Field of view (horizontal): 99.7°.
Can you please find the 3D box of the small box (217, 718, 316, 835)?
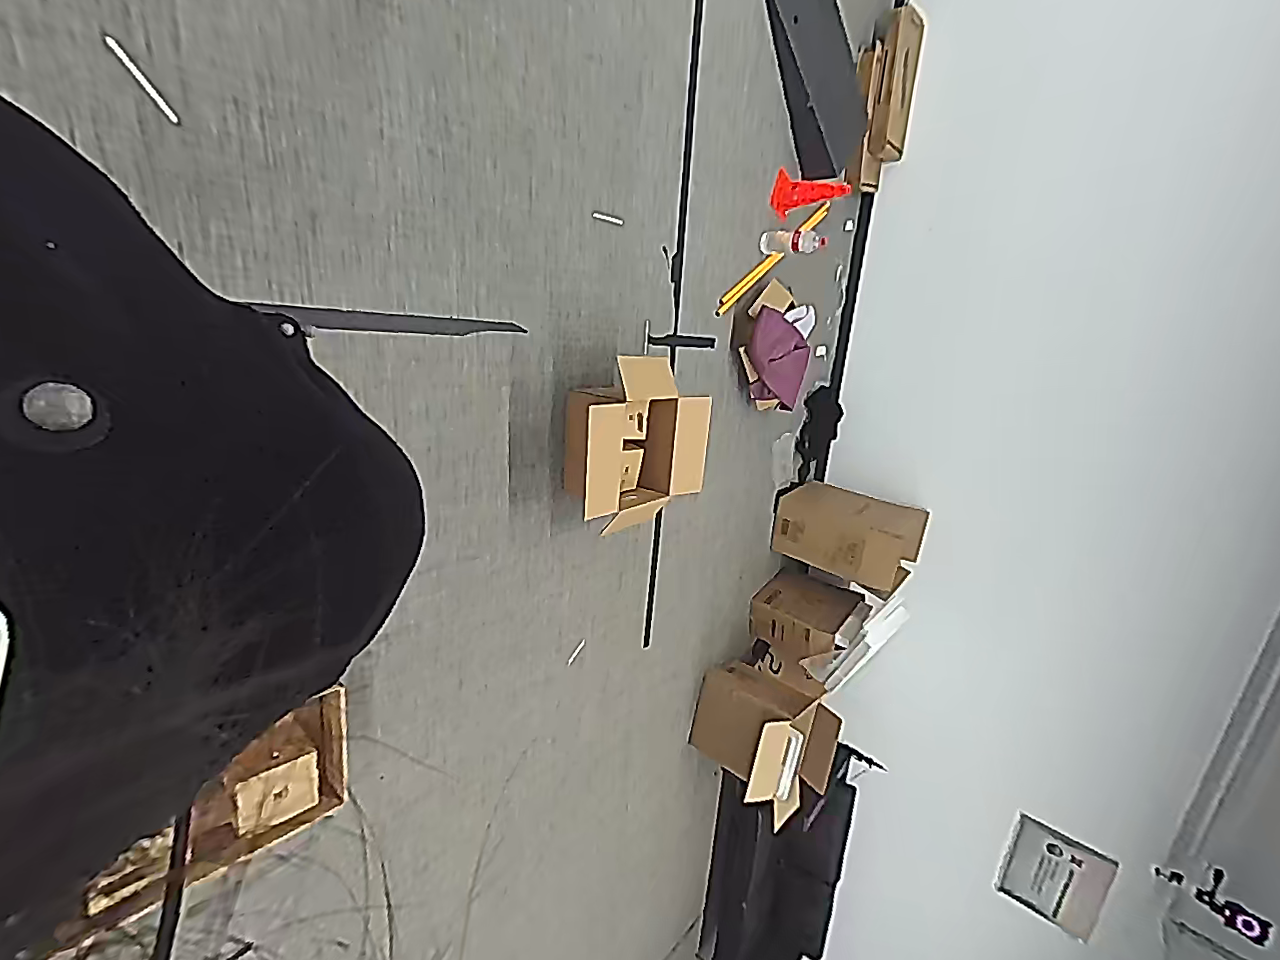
[{"bbox_3d":[-0.969,0.756,1.404,0.179,0.176,0.168,-8,108,-48],"label":"small box"}]
